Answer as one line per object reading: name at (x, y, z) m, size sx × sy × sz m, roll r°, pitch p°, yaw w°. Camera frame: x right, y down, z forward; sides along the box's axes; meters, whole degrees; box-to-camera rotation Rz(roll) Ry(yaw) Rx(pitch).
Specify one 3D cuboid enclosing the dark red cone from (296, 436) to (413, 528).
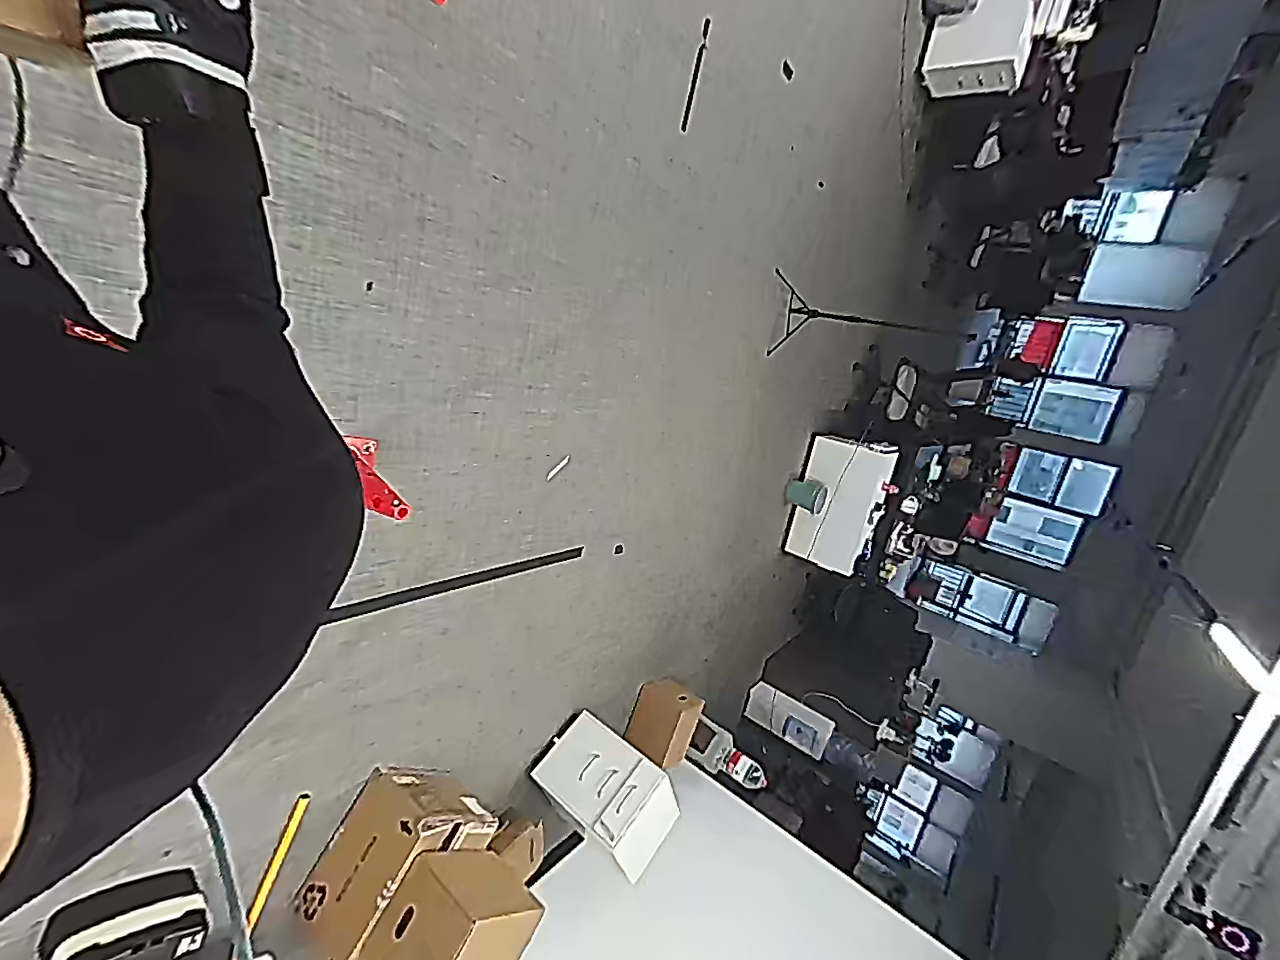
dark red cone at (-0.694, 0.033, 1.377) m, size 0.201 × 0.394 × 0.202 m, roll 4°, pitch 104°, yaw -53°

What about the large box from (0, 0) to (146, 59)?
large box at (-0.541, -0.451, 0.238) m, size 0.408 × 0.320 × 0.320 m, roll -15°, pitch 126°, yaw -52°
